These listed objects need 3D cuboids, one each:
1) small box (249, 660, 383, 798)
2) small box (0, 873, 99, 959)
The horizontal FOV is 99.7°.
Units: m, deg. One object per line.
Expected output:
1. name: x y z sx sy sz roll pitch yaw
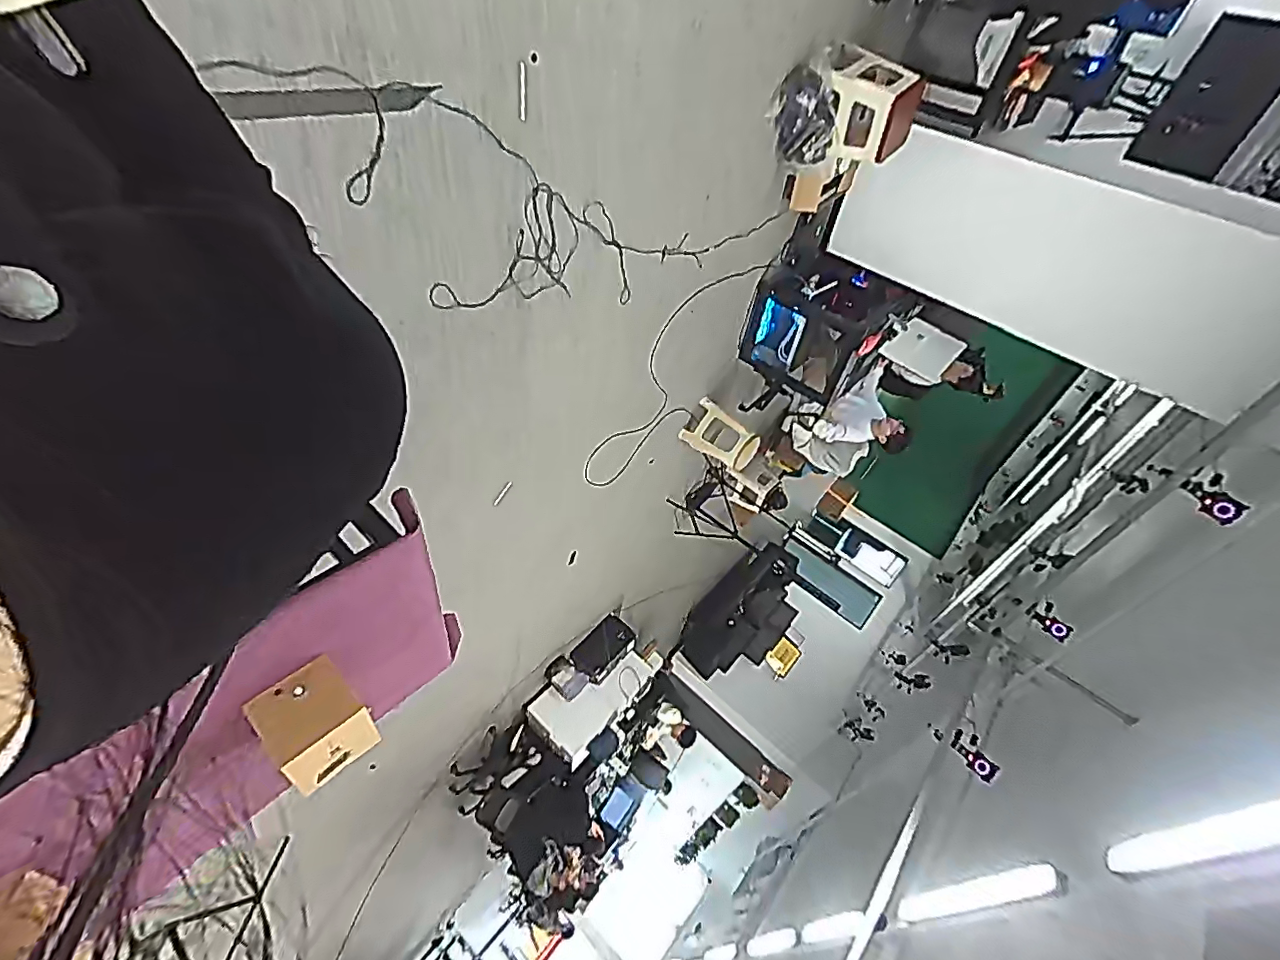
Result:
1. small box: -0.673 0.515 1.134 0.168 0.176 0.179 -35 149 -37
2. small box: -1.011 0.771 0.855 0.168 0.176 0.179 -33 149 -41
